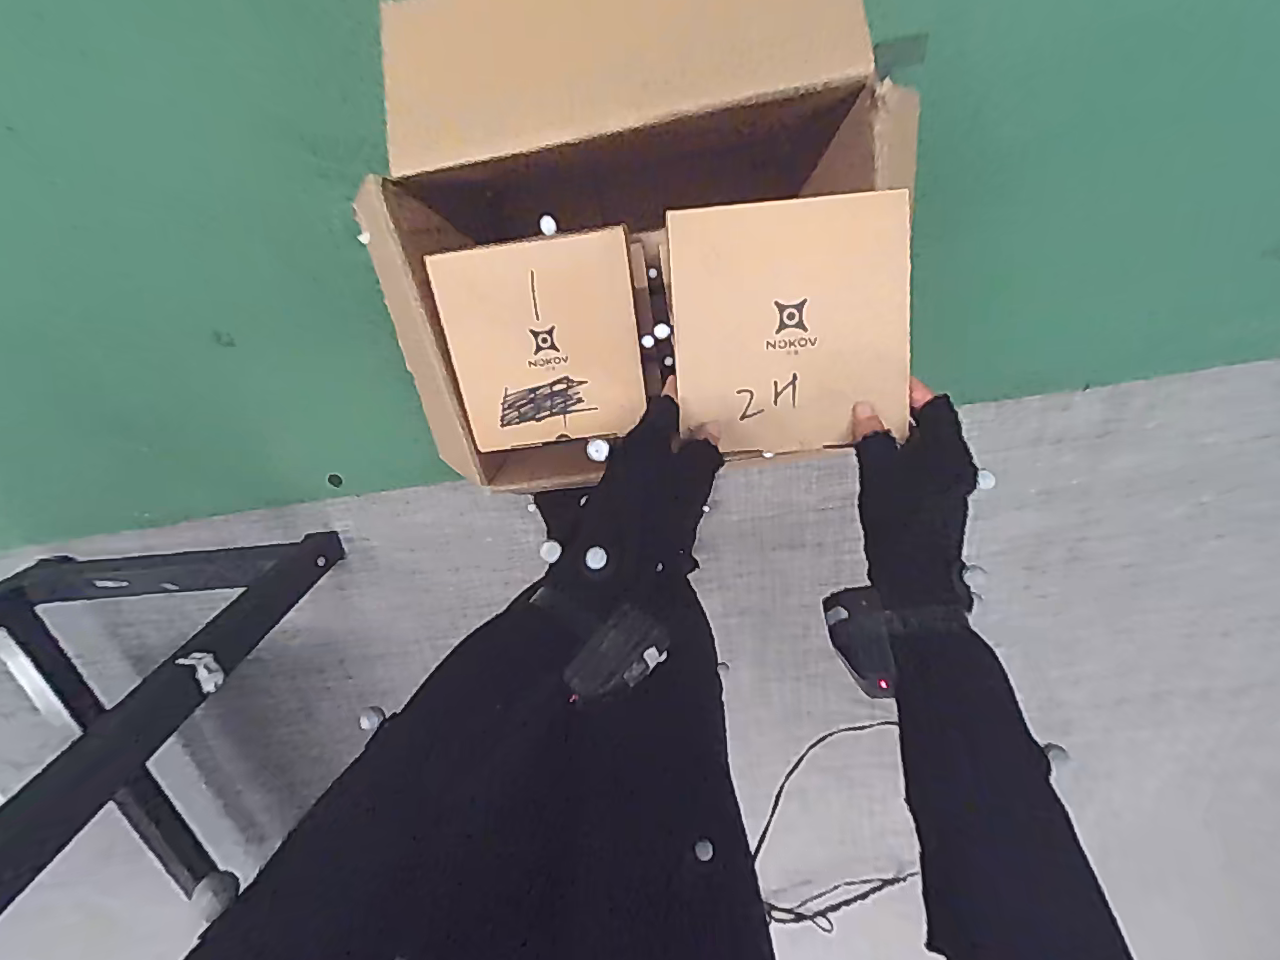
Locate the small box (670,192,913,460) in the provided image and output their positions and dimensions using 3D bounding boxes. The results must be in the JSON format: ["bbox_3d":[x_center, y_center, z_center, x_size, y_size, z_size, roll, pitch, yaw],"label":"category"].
[{"bbox_3d":[0.111,-0.115,0.457,0.168,0.176,0.179,-3,99,5],"label":"small box"}]
